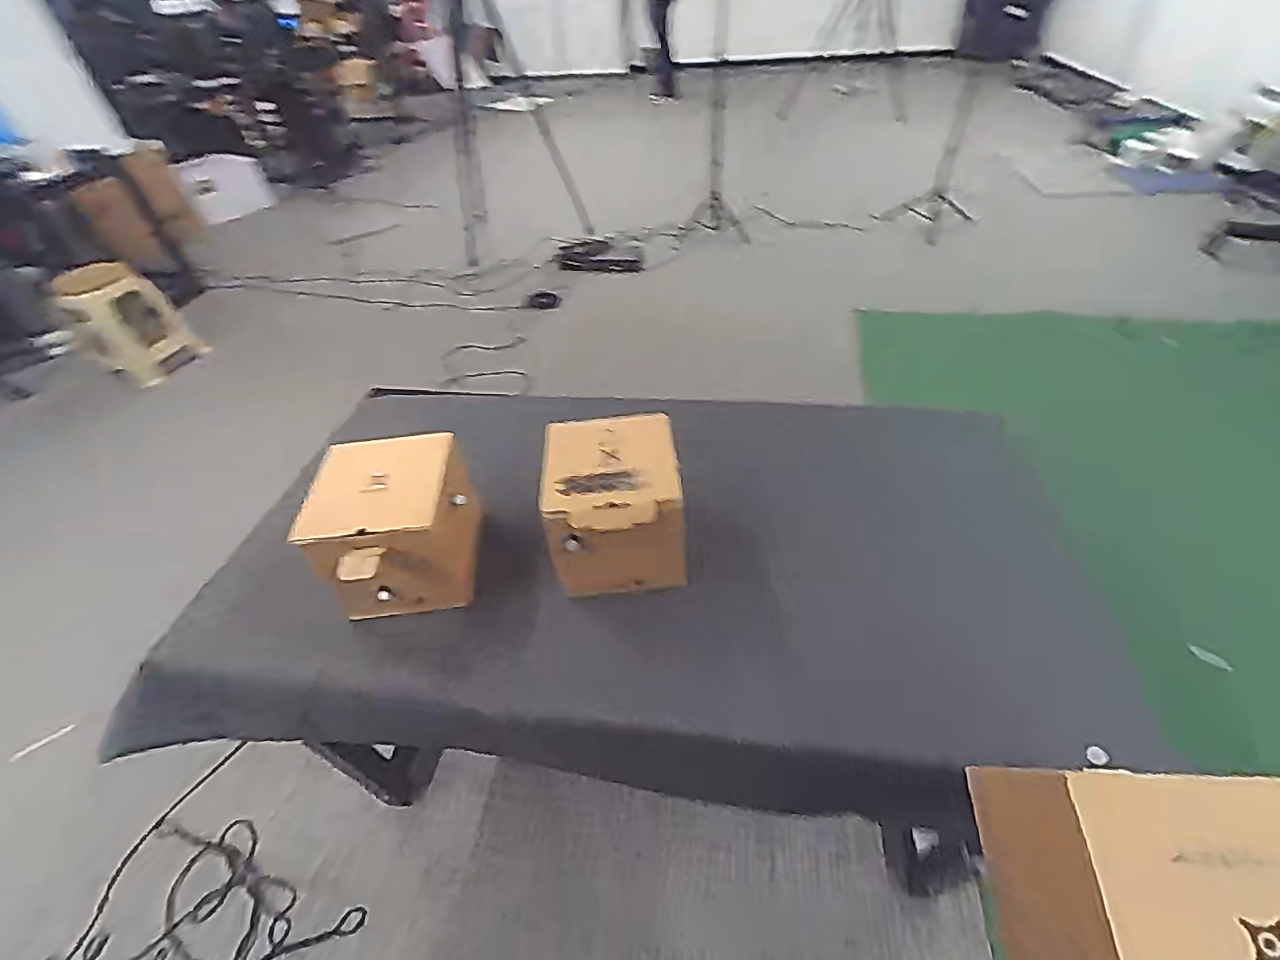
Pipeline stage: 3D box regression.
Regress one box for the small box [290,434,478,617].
[{"bbox_3d":[-0.326,0.062,0.737,0.168,0.176,0.179,-7,45,-3],"label":"small box"}]
